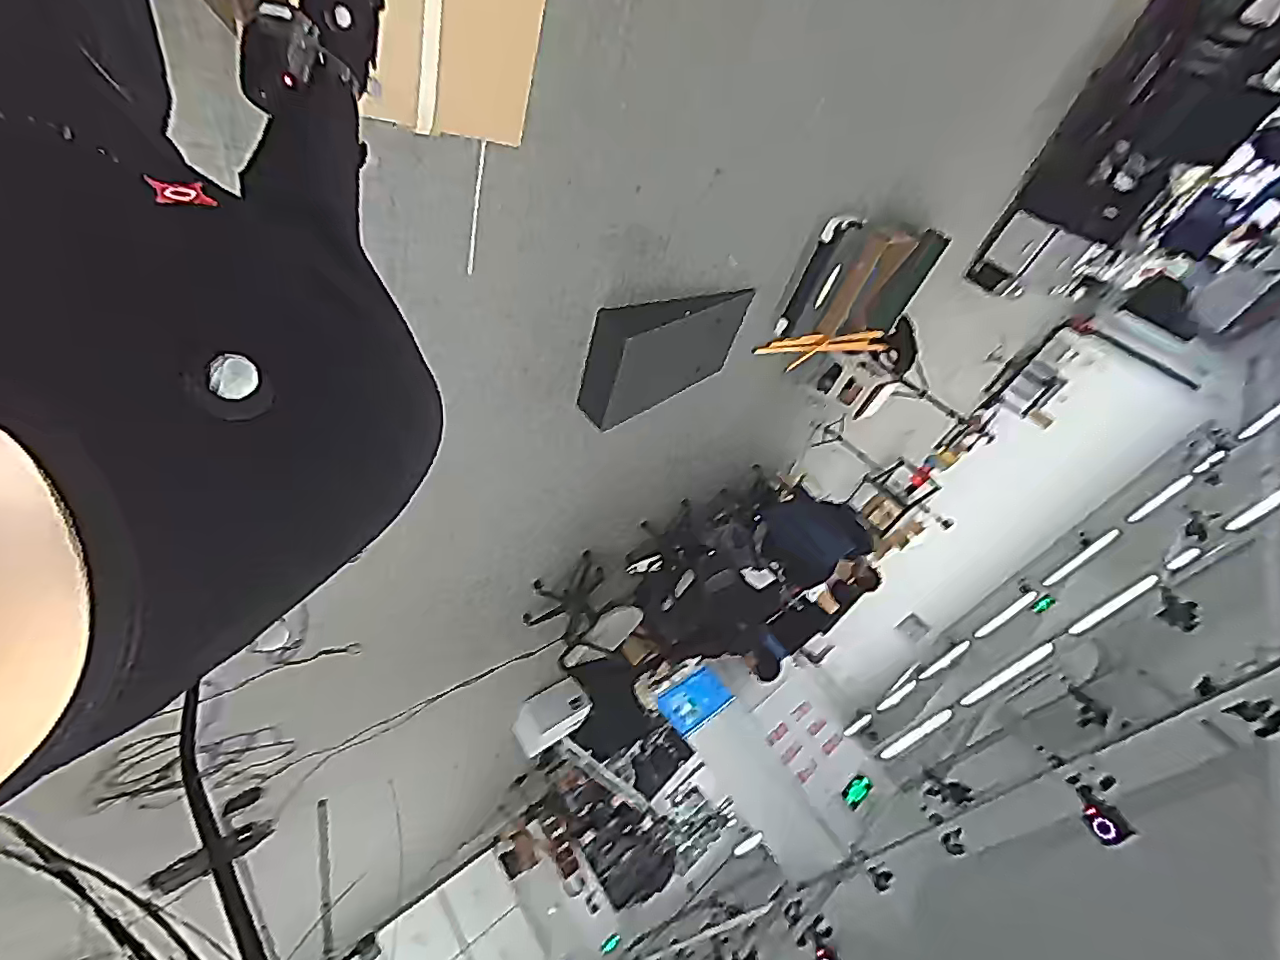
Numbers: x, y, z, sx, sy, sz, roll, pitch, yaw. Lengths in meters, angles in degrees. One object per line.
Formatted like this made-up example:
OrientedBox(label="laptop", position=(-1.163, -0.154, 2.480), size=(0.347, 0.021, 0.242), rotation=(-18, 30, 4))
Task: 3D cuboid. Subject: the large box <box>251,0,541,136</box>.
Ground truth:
OrientedBox(label="large box", position=(-0.325, -0.745, 0.704), size=(0.320, 0.320, 0.408), rotation=(-13, 142, -37))
